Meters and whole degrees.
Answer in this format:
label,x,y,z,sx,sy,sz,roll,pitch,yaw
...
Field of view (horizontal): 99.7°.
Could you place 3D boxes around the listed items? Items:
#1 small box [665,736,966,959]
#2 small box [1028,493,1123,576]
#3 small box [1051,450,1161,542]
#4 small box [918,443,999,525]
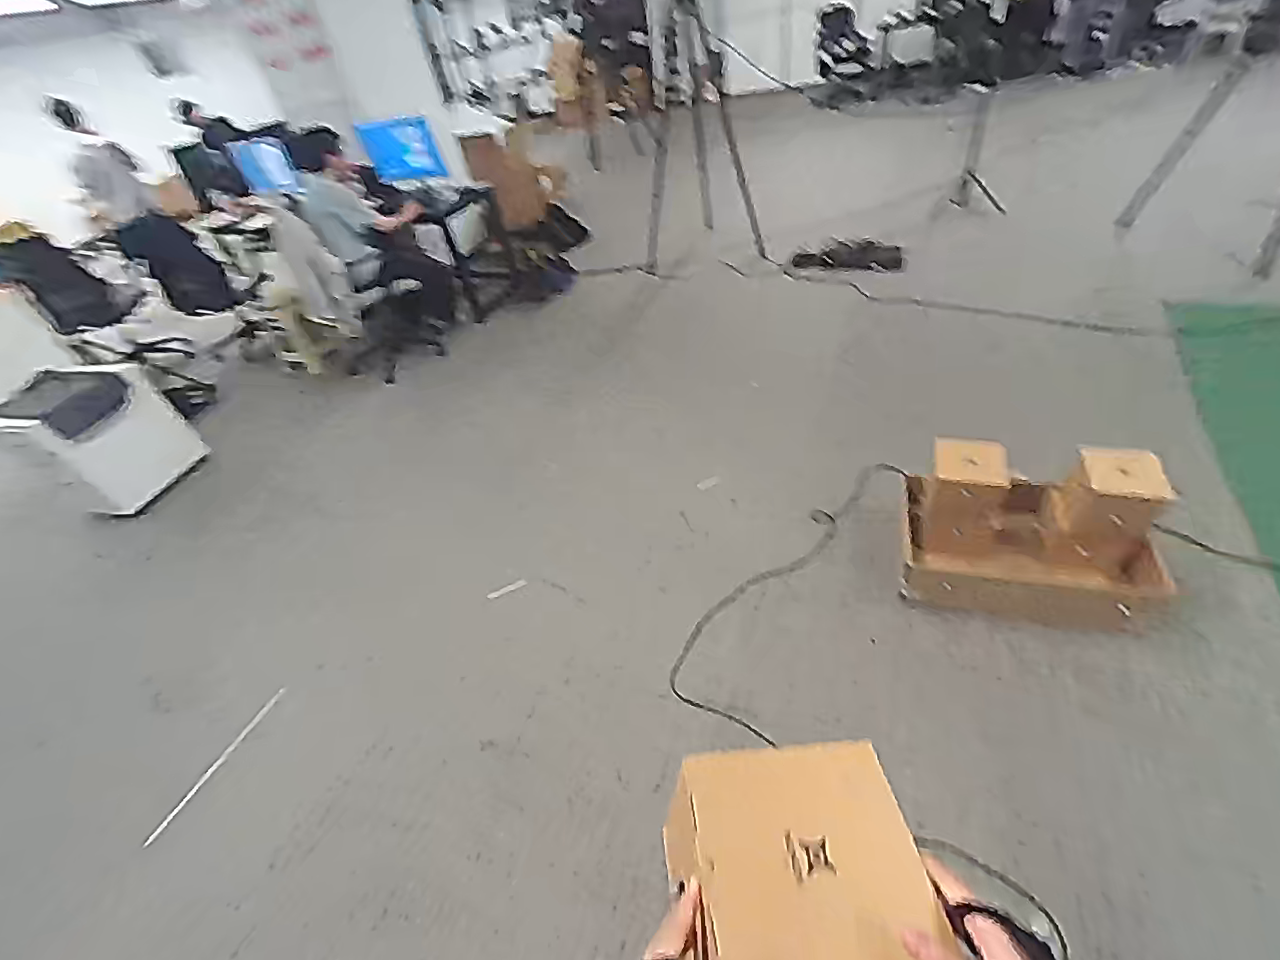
label,x,y,z,sx,sy,sz,roll,pitch,yaw
small box,0.125,0.342,0.464,0.179,0.176,0.168,0,39,-7
small box,1.268,0.161,1.589,0.179,0.176,0.168,7,46,21
small box,1.255,0.045,1.471,0.168,0.176,0.179,8,46,20
small box,0.926,0.012,1.587,0.179,0.176,0.168,8,48,21
